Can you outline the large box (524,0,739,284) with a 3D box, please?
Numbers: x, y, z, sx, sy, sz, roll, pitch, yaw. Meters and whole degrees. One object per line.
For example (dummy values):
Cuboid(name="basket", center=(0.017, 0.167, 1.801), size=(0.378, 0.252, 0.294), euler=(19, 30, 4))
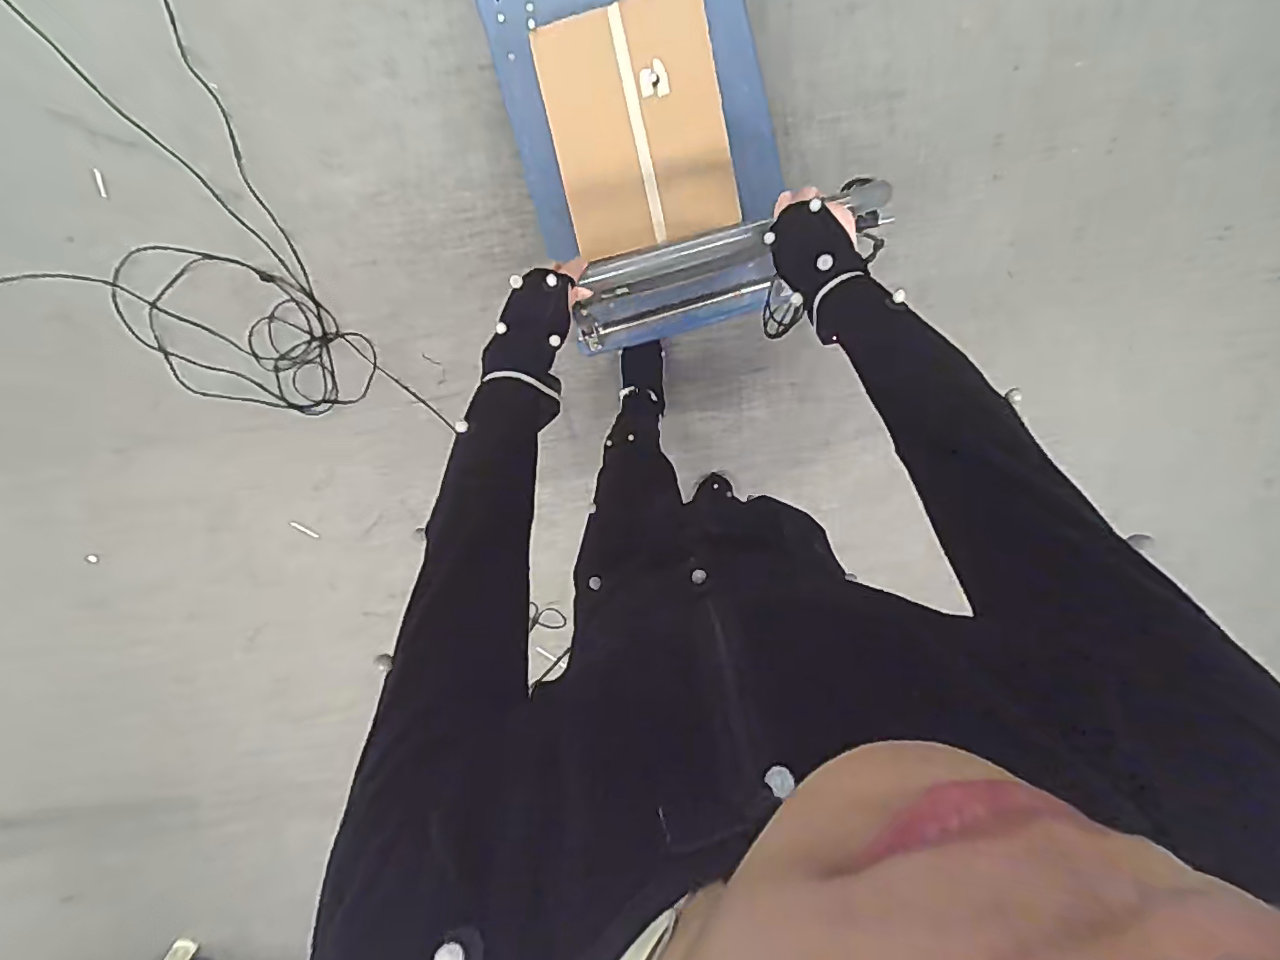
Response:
Cuboid(name="large box", center=(-0.002, -0.665, 1.114), size=(0.320, 0.320, 0.408), euler=(-12, 101, 5))
